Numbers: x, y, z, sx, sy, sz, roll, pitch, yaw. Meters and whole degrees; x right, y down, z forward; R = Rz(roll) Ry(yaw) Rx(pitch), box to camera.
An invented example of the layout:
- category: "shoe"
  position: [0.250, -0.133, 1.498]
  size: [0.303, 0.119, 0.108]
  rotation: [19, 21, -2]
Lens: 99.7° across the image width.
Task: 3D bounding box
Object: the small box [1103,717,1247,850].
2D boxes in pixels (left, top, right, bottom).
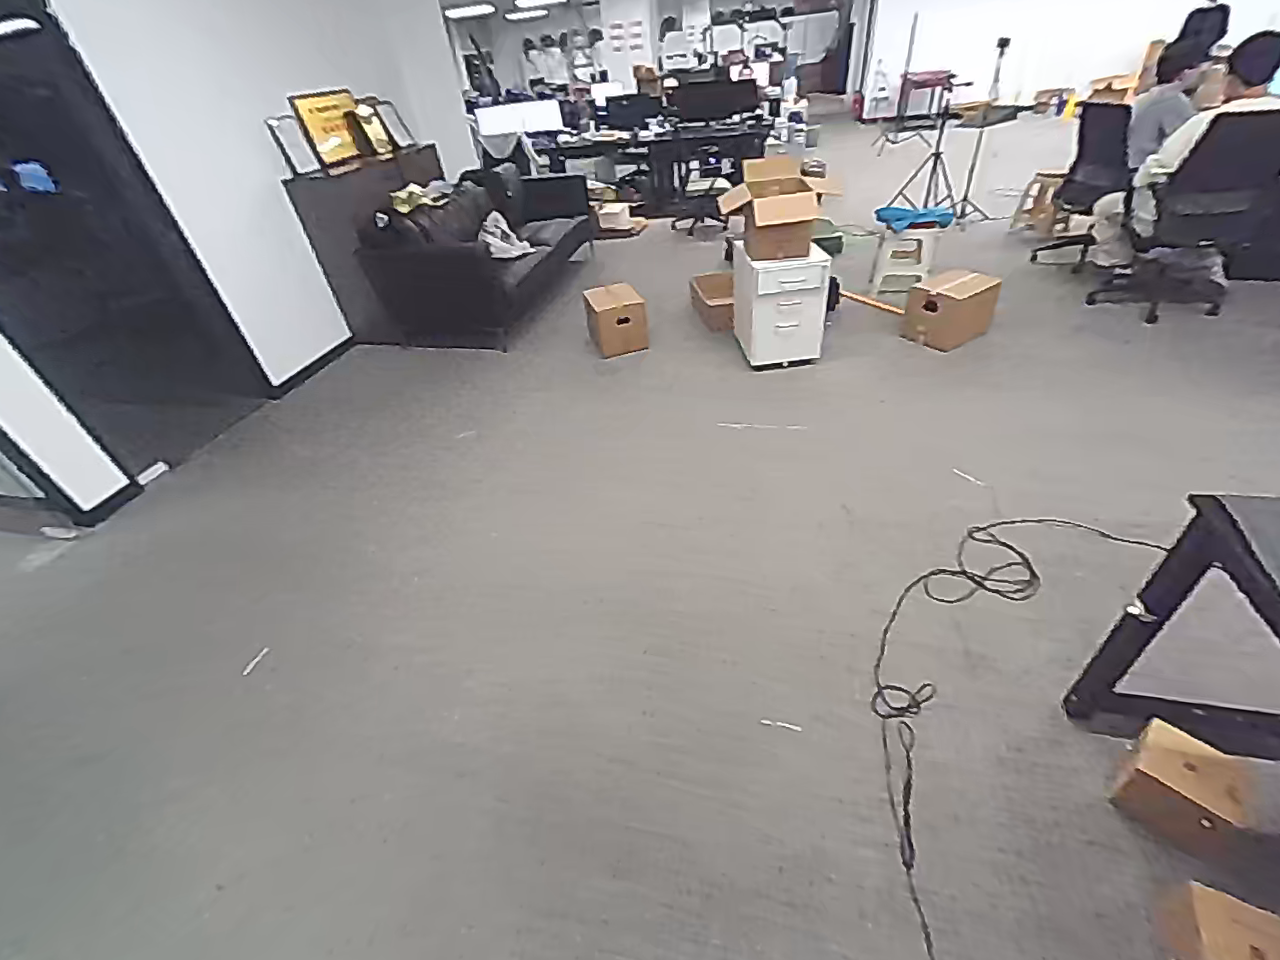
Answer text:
- category: "small box"
  position: [1.220, 0.699, 1.243]
  size: [0.168, 0.176, 0.179]
  rotation: [-33, 45, -31]

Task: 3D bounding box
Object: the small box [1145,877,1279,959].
- category: "small box"
  position: [1.089, 0.899, 1.001]
  size: [0.168, 0.176, 0.179]
  rotation: [14, 40, 24]
